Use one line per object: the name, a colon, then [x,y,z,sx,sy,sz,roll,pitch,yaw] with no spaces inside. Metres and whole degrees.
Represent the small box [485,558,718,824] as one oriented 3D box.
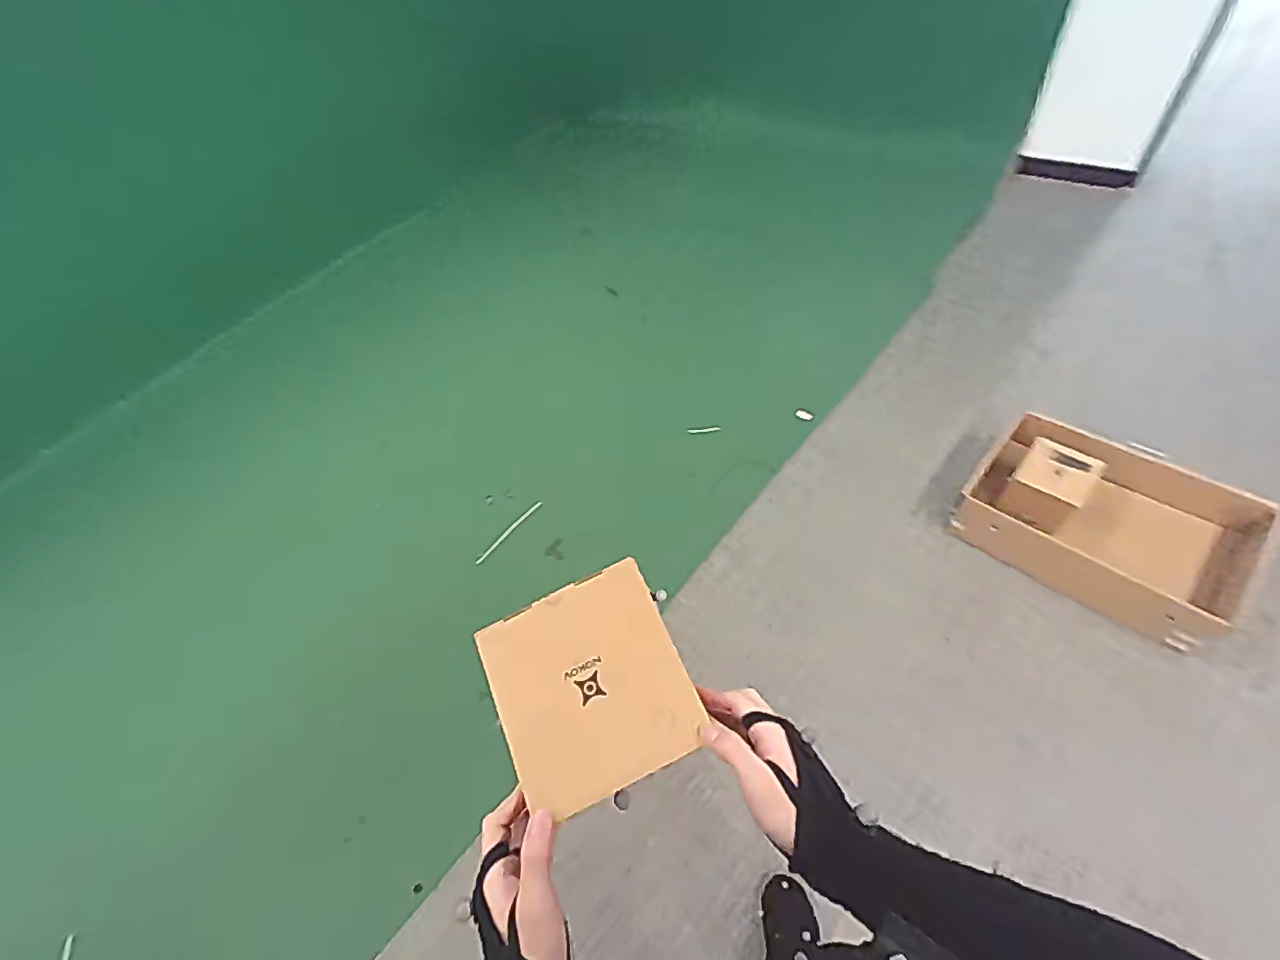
small box: [-0.029,0.209,0.548,0.168,0.176,0.179,-25,64,-4]
